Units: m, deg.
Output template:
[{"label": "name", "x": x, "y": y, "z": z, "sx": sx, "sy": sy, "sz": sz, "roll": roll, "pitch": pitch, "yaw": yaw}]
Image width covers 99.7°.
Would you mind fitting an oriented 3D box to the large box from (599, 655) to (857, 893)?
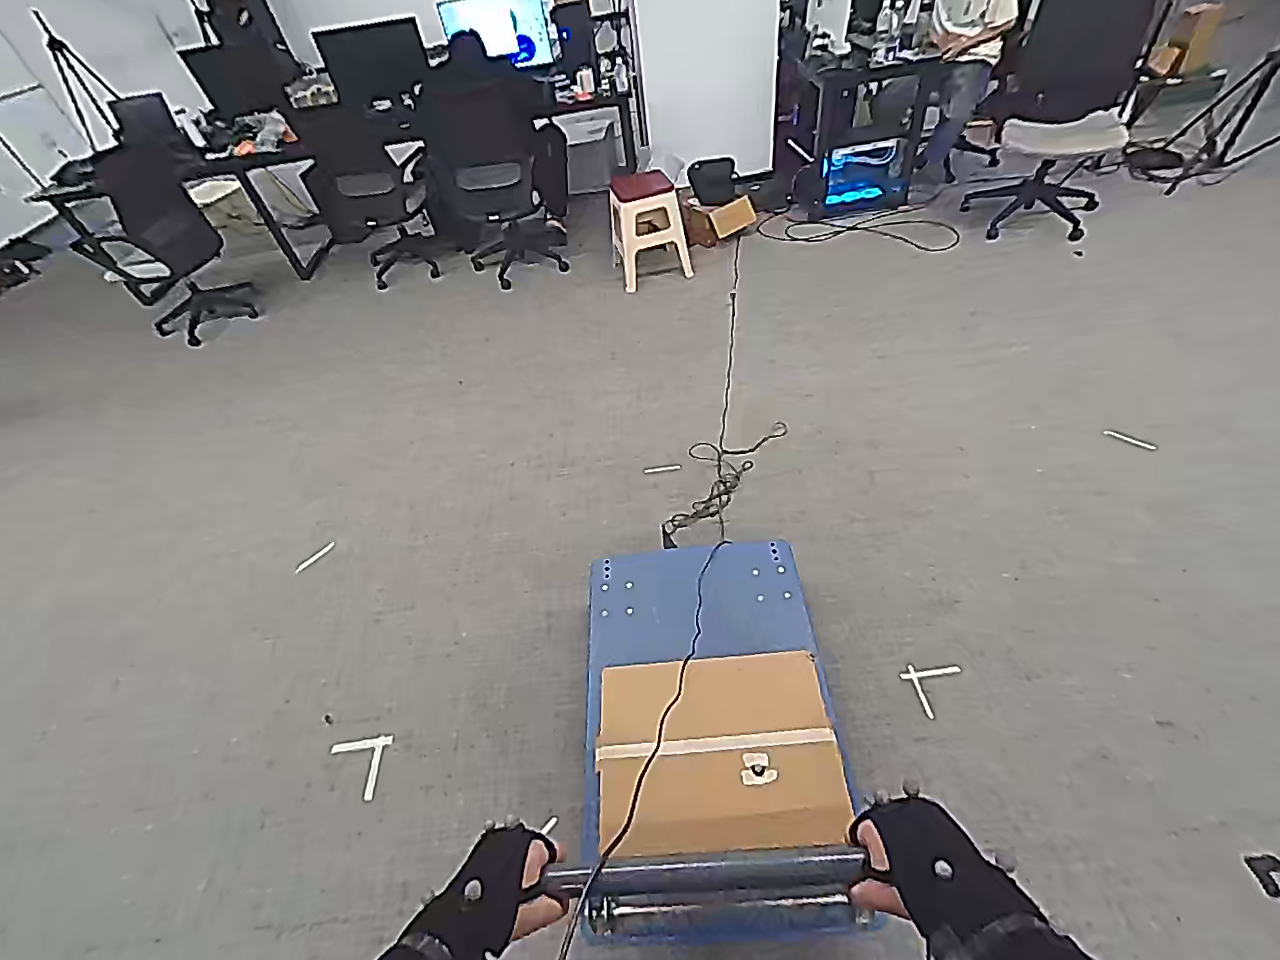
[{"label": "large box", "x": 0.143, "y": 0.566, "z": 1.034, "sx": 0.408, "sy": 0.320, "sz": 0.320, "roll": -6, "pitch": 48, "yaw": 4}]
